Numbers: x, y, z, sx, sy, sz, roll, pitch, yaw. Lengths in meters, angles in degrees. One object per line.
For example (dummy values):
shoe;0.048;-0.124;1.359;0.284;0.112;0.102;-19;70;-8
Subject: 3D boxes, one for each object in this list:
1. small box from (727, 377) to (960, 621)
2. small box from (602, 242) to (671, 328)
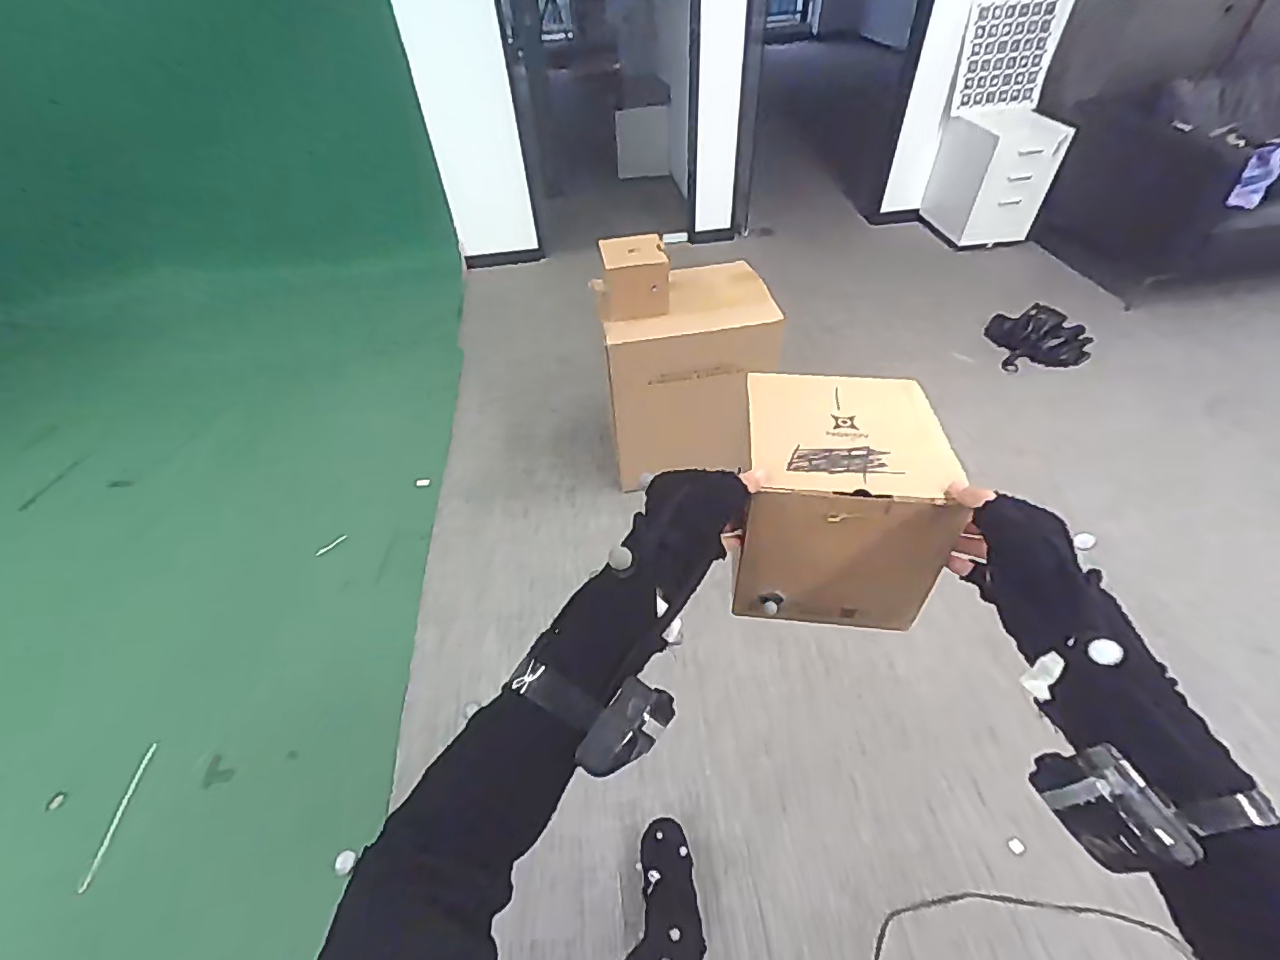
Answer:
small box;0.176;0.017;0.529;0.168;0.176;0.179;3;40;7
small box;-0.009;-0.572;1.593;0.179;0.176;0.168;-11;50;-4
